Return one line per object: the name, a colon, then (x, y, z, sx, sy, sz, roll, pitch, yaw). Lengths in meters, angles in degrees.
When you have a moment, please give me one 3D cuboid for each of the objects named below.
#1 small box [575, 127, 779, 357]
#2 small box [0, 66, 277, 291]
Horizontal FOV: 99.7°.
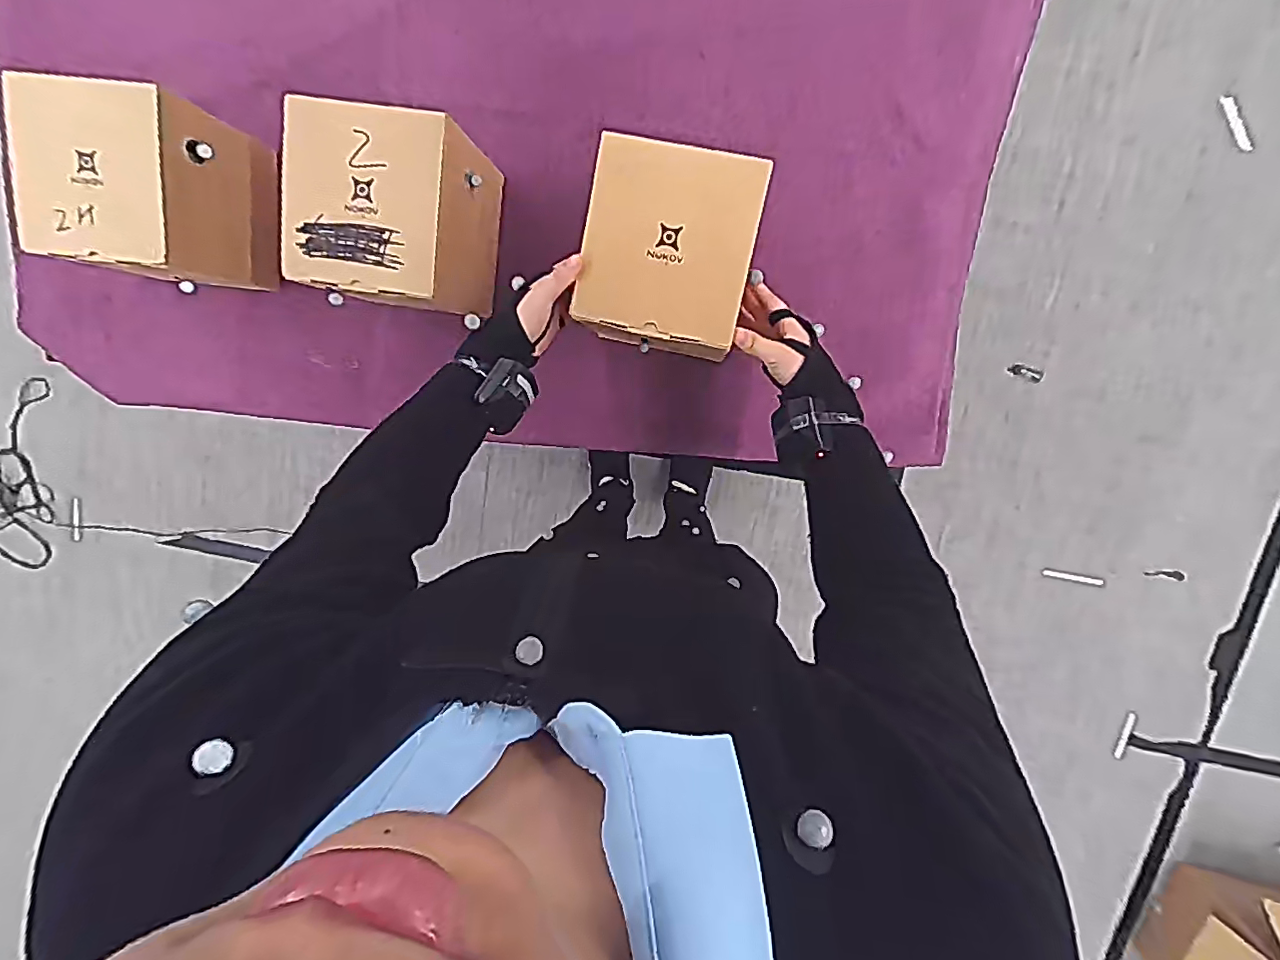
small box: (0.039, -0.240, 0.591, 0.168, 0.176, 0.179, 13, 100, 4)
small box: (-0.555, -0.330, 0.625, 0.168, 0.176, 0.179, 7, 101, 3)
